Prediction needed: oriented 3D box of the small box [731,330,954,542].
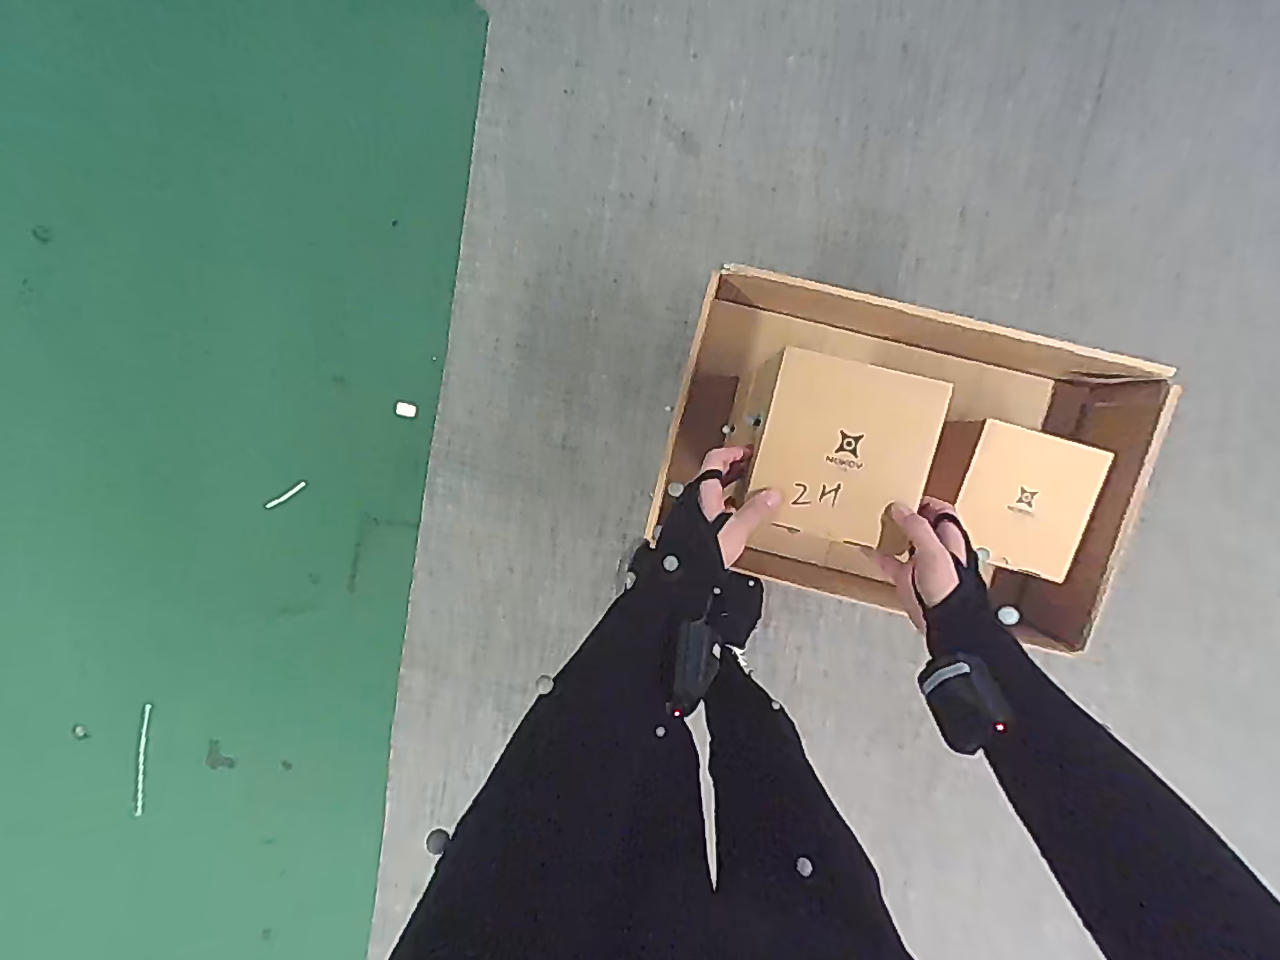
[{"bbox_3d":[0.205,-0.049,0.602,0.168,0.176,0.179,14,96,2],"label":"small box"}]
